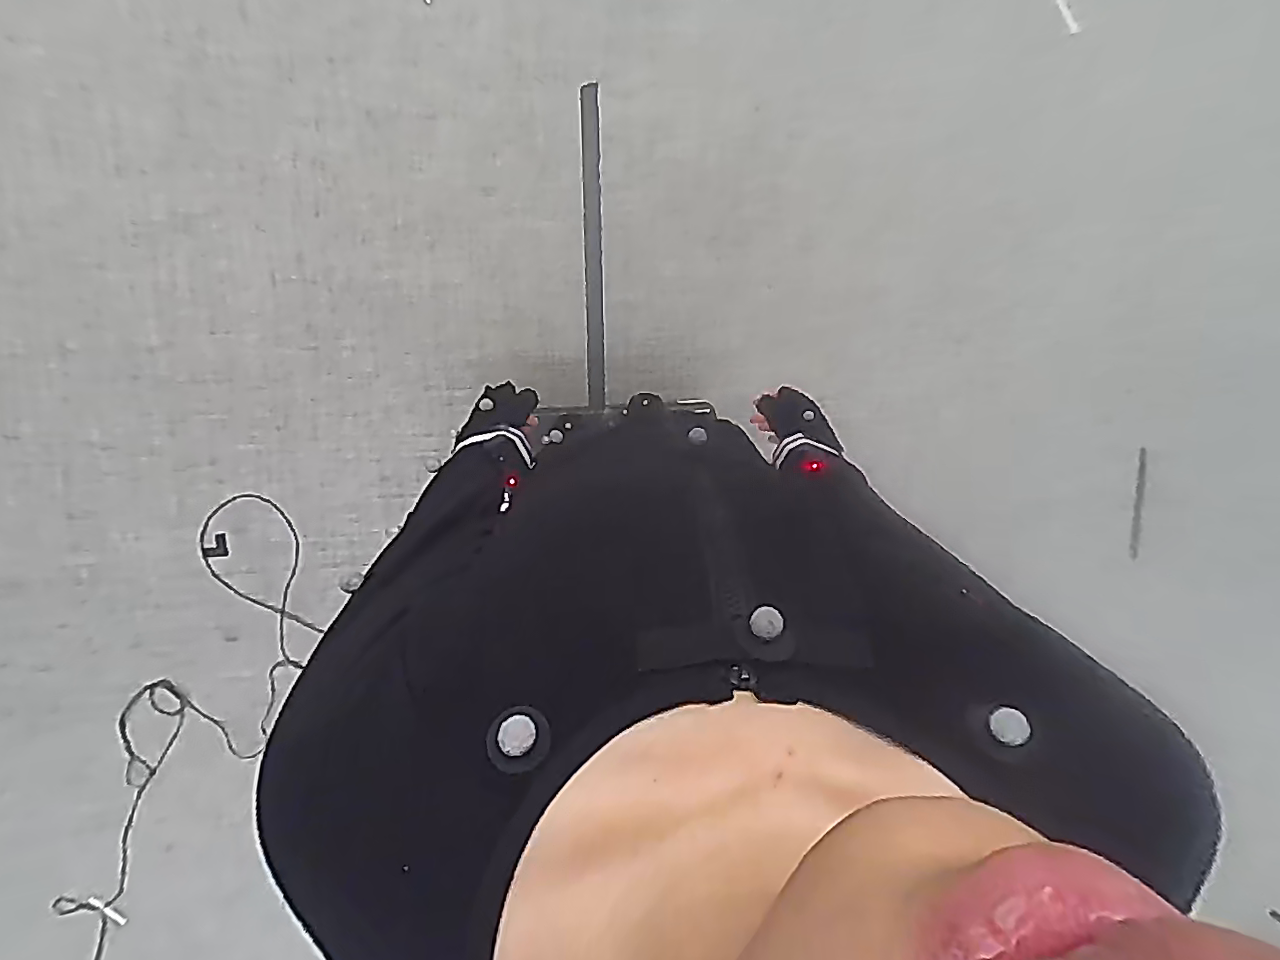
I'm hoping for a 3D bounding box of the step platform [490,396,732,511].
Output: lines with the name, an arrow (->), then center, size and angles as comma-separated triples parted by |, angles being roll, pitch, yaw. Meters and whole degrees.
step platform -> -0.081, -0.082, 1.559 | 0.684, 0.204, 0.286 | -4, 99, -6
